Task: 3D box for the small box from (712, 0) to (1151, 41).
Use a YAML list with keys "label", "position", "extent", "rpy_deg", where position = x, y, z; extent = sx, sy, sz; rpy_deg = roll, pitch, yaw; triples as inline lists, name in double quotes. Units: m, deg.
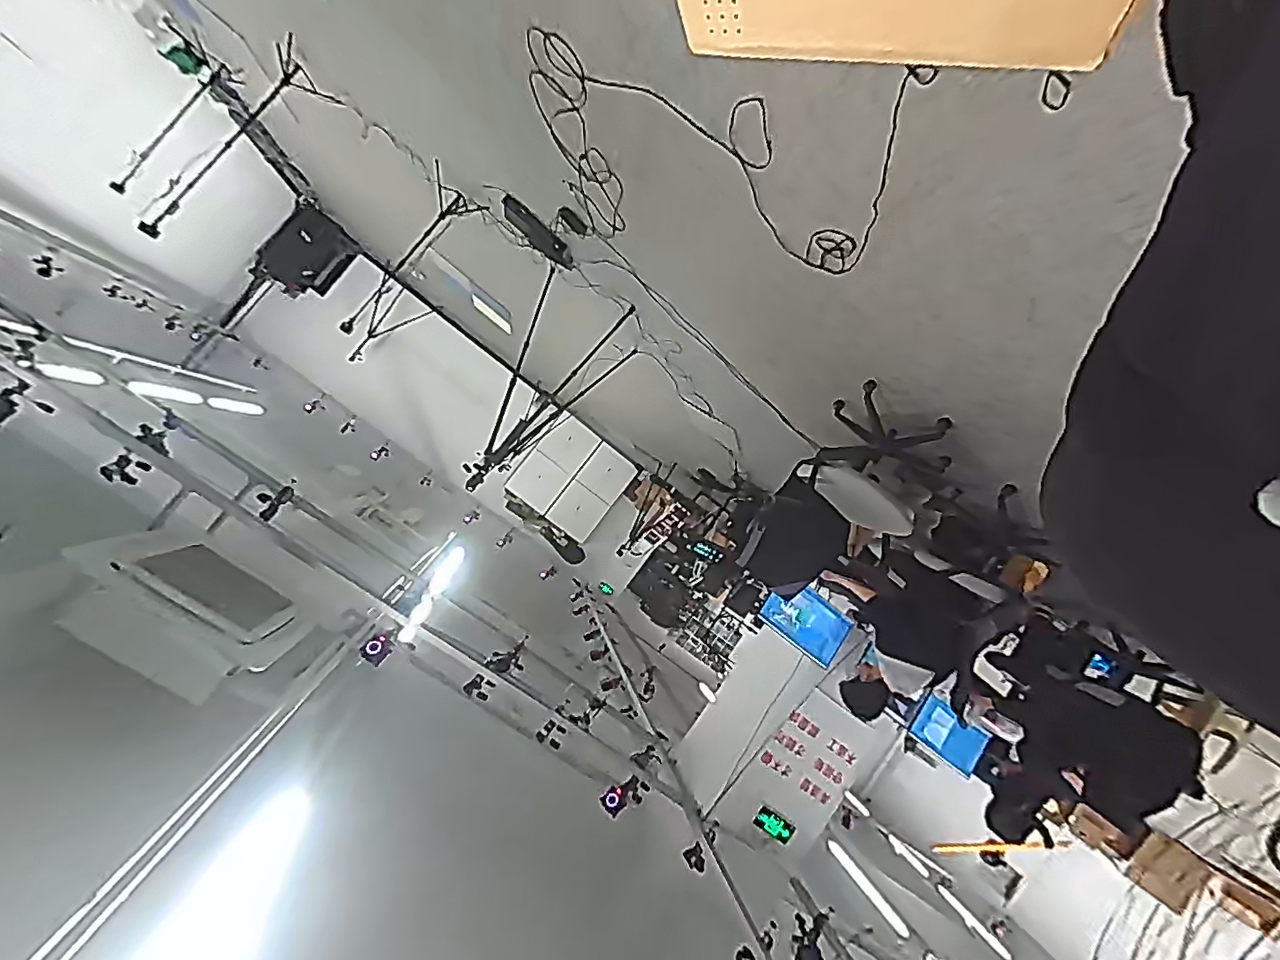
- label: "small box"
  position: [0.106, -0.275, 0.157]
  extent: [0.176, 0.168, 0.179]
  rpy_deg: [21, 177, 21]
